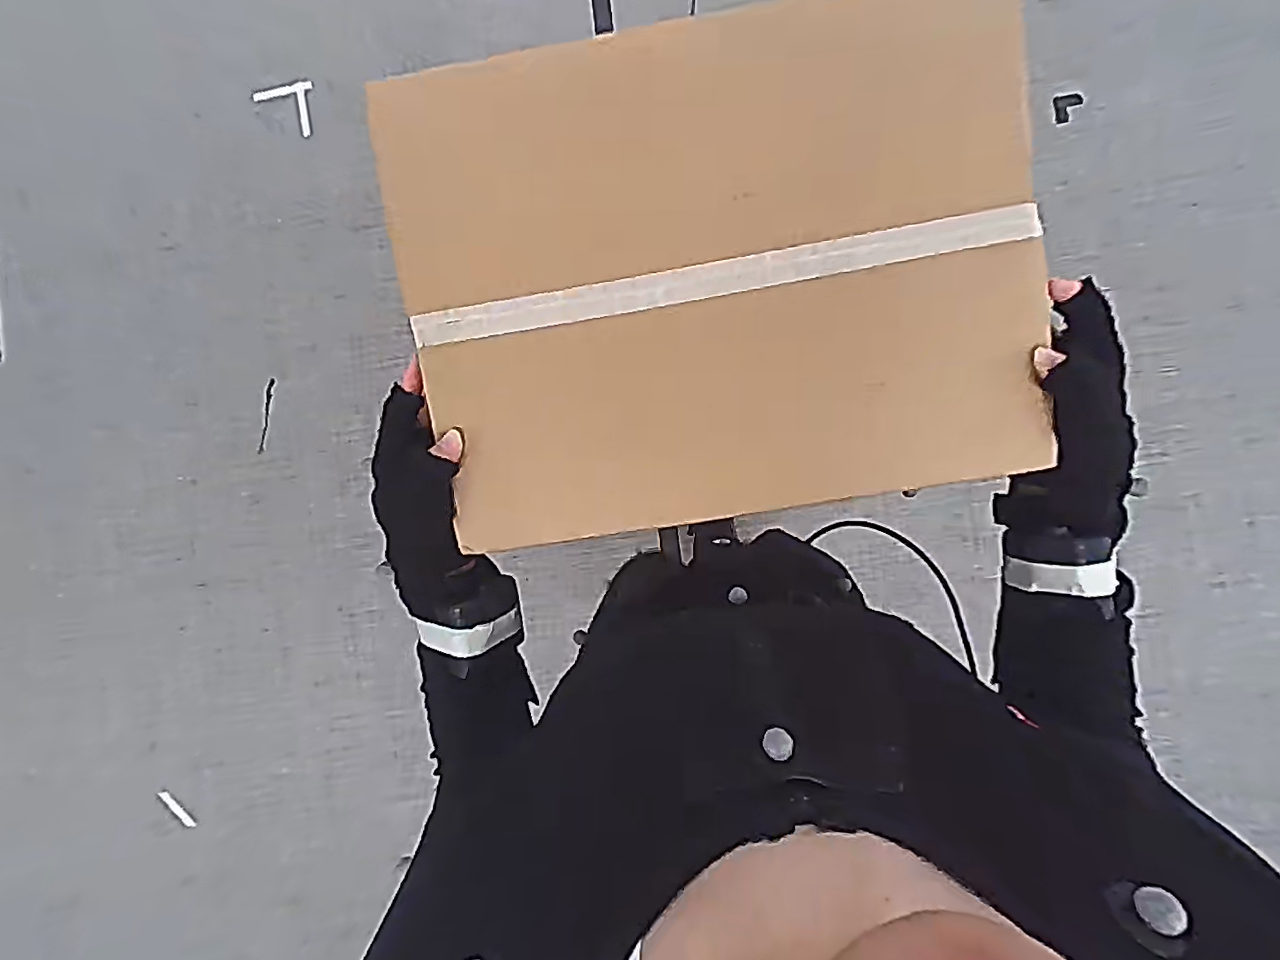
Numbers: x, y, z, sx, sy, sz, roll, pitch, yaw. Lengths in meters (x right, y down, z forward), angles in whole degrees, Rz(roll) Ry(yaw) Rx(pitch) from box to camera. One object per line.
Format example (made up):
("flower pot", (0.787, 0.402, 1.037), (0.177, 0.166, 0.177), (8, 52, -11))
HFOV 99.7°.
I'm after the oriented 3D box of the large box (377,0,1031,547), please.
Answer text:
("large box", (0.053, -0.154, 0.507), (0.408, 0.320, 0.320), (-9, 96, 4))
